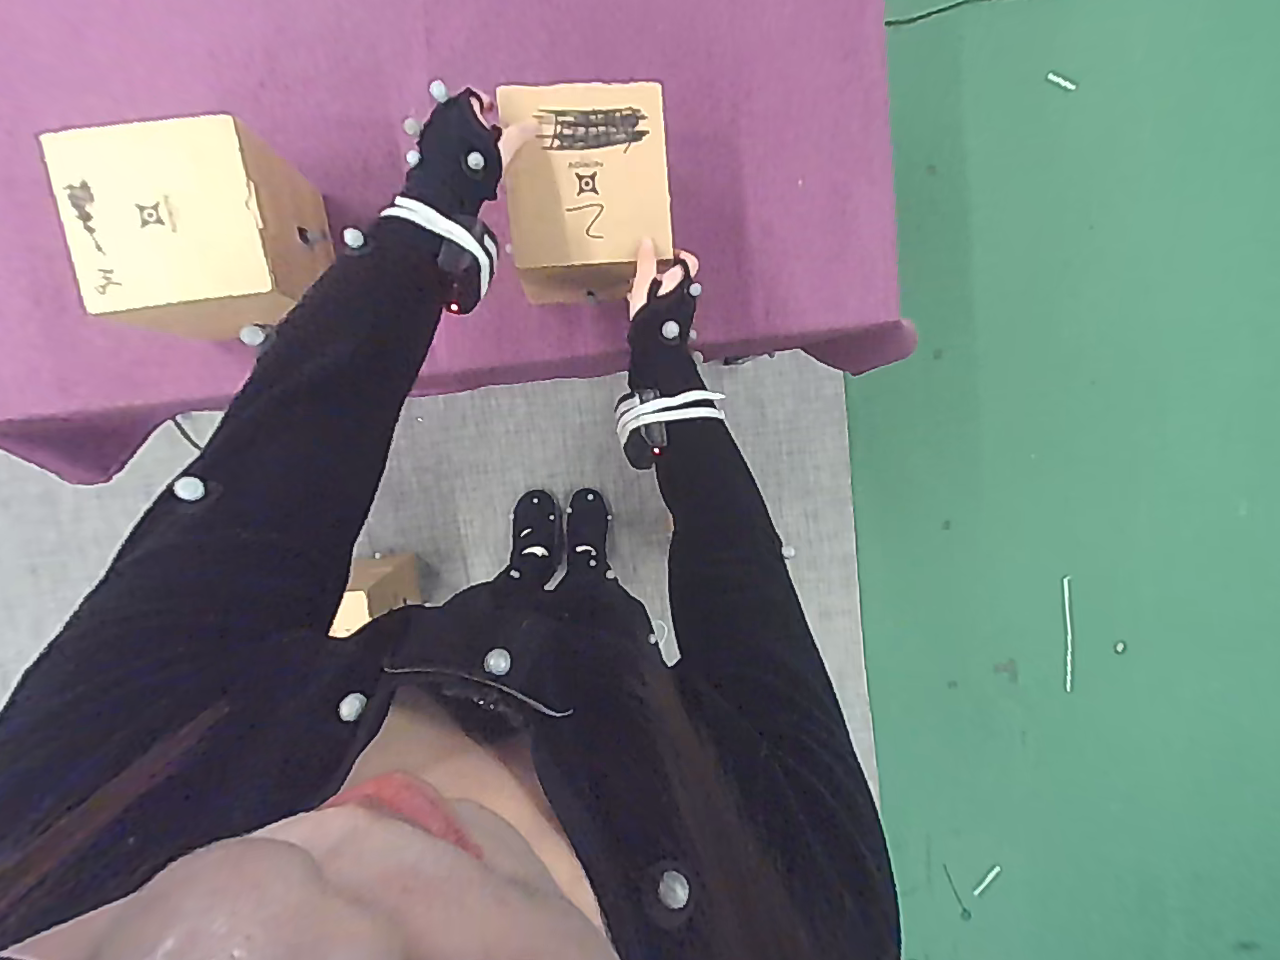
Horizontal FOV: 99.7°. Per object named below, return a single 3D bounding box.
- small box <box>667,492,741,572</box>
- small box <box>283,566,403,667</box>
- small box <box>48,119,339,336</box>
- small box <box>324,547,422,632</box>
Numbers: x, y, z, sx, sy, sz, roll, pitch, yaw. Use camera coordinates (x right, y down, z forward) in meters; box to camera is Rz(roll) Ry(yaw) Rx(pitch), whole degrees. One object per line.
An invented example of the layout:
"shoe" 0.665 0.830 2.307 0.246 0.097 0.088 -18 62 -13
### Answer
"small box" 0.172 0.133 1.447 0.179 0.176 0.168 -9 98 -5
"small box" -0.657 0.299 1.214 0.179 0.176 0.168 -5 97 -6
"small box" -0.459 -0.262 0.595 0.179 0.176 0.168 -9 97 -6
"small box" -0.670 0.282 1.377 0.168 0.176 0.179 -6 96 -5
